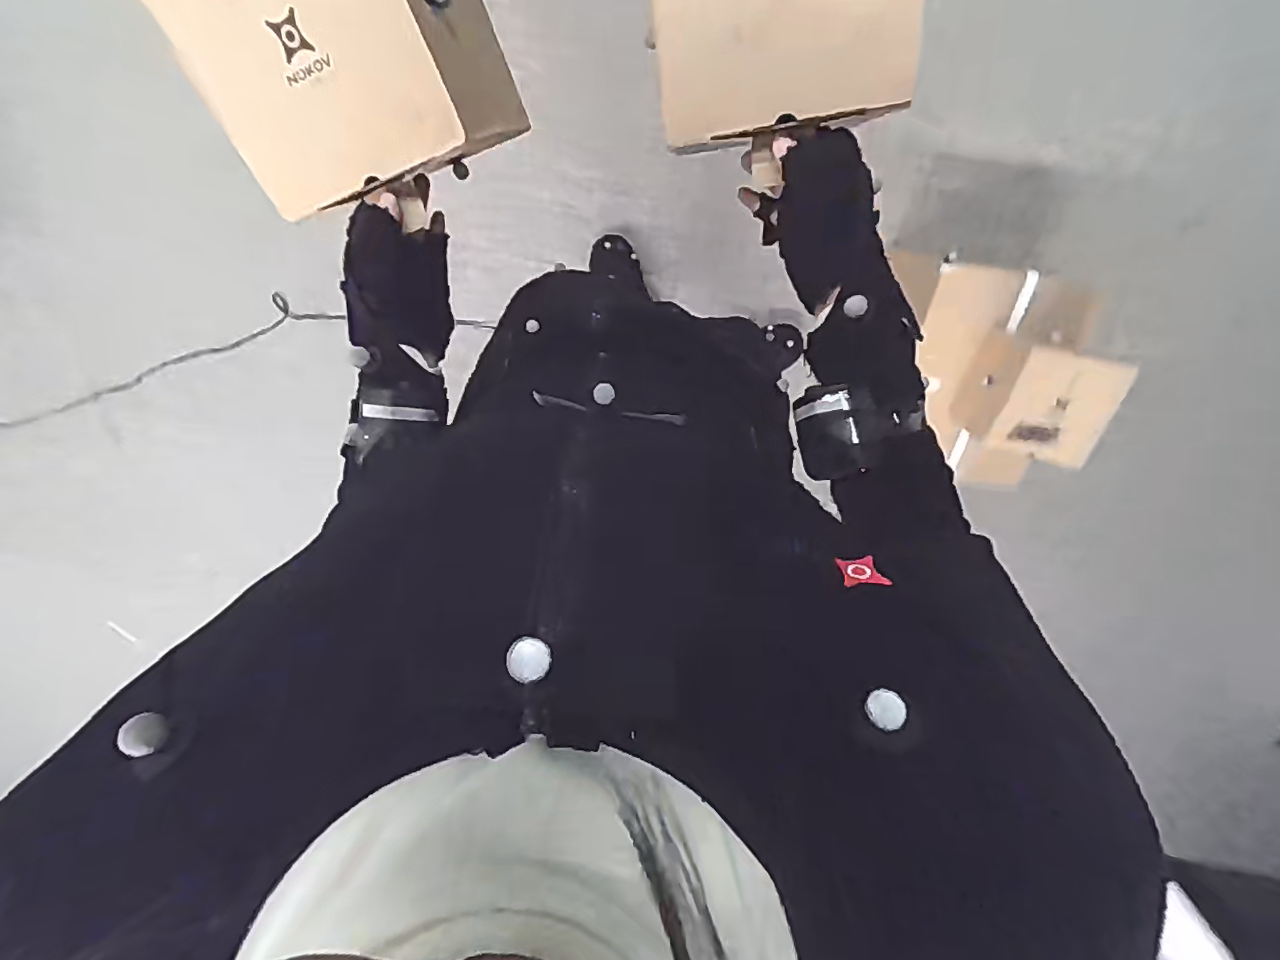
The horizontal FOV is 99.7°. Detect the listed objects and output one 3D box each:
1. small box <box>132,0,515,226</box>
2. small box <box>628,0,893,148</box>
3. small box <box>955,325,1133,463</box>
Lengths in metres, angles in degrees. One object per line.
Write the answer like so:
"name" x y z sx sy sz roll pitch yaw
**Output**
"small box" -0.222 -0.330 0.419 0.168 0.176 0.179 -15 123 16
"small box" 0.082 -0.360 0.399 0.168 0.176 0.179 -5 119 11
"small box" 0.685 -0.156 0.949 0.168 0.176 0.179 12 119 5
